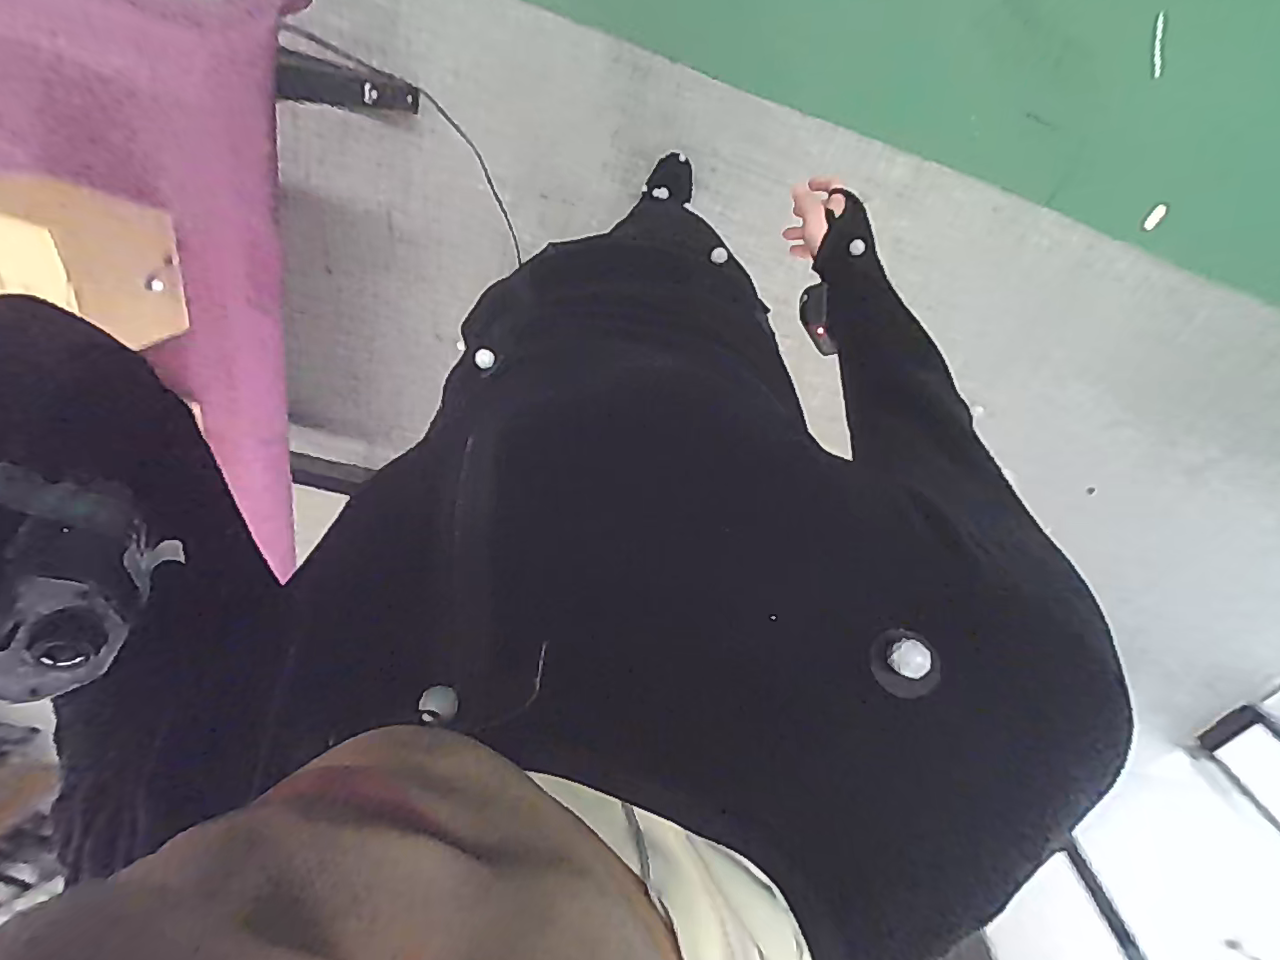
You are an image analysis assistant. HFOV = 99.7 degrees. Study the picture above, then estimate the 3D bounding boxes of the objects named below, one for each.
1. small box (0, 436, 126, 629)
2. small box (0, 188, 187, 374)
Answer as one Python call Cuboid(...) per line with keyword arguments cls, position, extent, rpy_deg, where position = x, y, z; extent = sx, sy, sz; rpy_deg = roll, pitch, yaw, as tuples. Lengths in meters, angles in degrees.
Cuboid(cls="small box", position=(-0.826, 0.061, 0.701), extent=(0.179, 0.176, 0.168), rpy_deg=(15, 121, -6))
Cuboid(cls="small box", position=(-0.741, -0.260, 0.692), extent=(0.179, 0.176, 0.168), rpy_deg=(15, 122, -7))
